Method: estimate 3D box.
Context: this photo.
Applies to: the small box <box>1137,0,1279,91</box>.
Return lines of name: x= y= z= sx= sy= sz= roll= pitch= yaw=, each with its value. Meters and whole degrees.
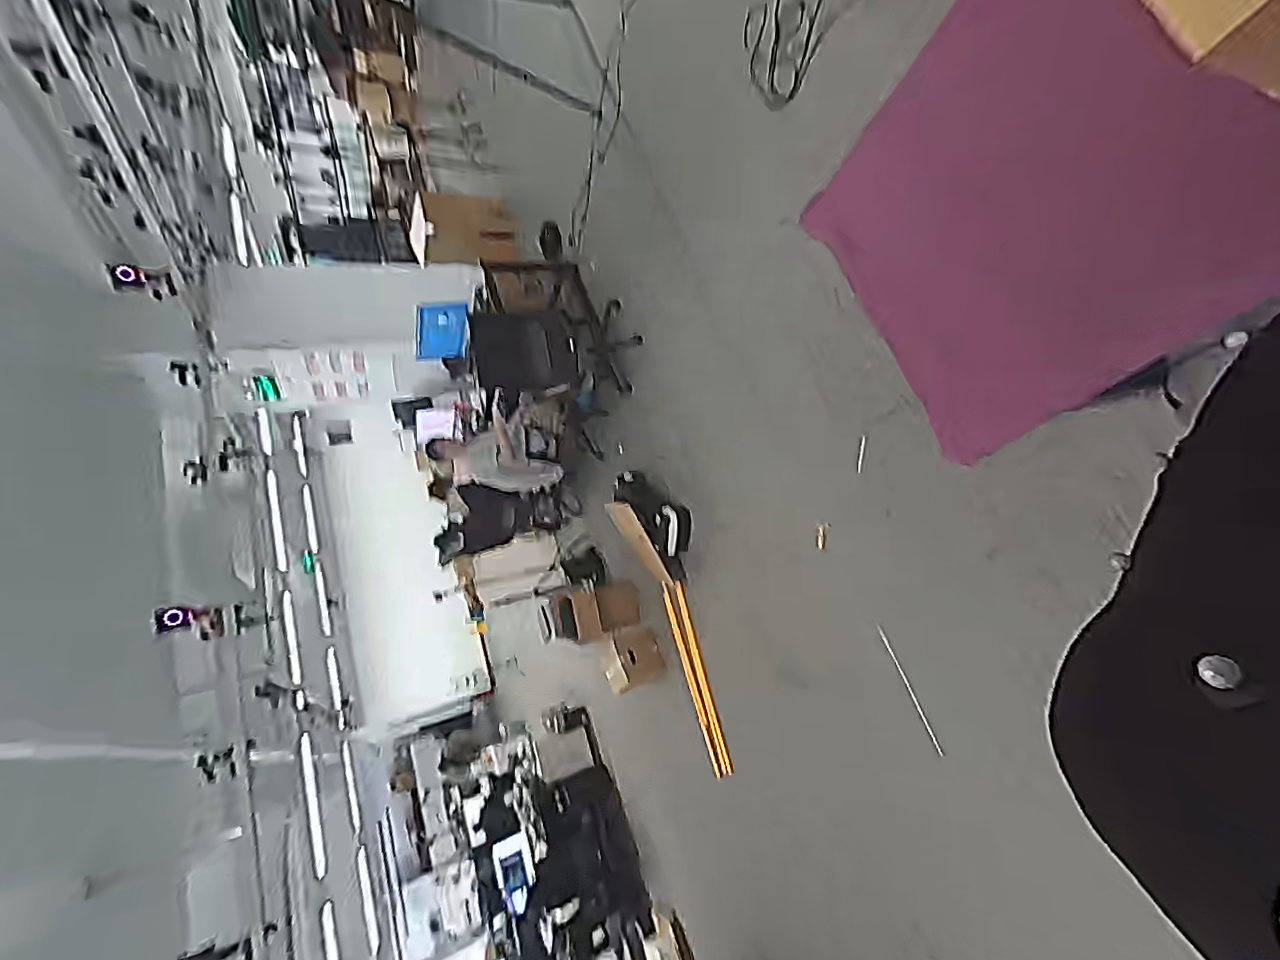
small box: x=0.517 y=-0.448 z=0.416 sx=0.179 sy=0.176 sz=0.168 roll=-45 pitch=58 yaw=59
